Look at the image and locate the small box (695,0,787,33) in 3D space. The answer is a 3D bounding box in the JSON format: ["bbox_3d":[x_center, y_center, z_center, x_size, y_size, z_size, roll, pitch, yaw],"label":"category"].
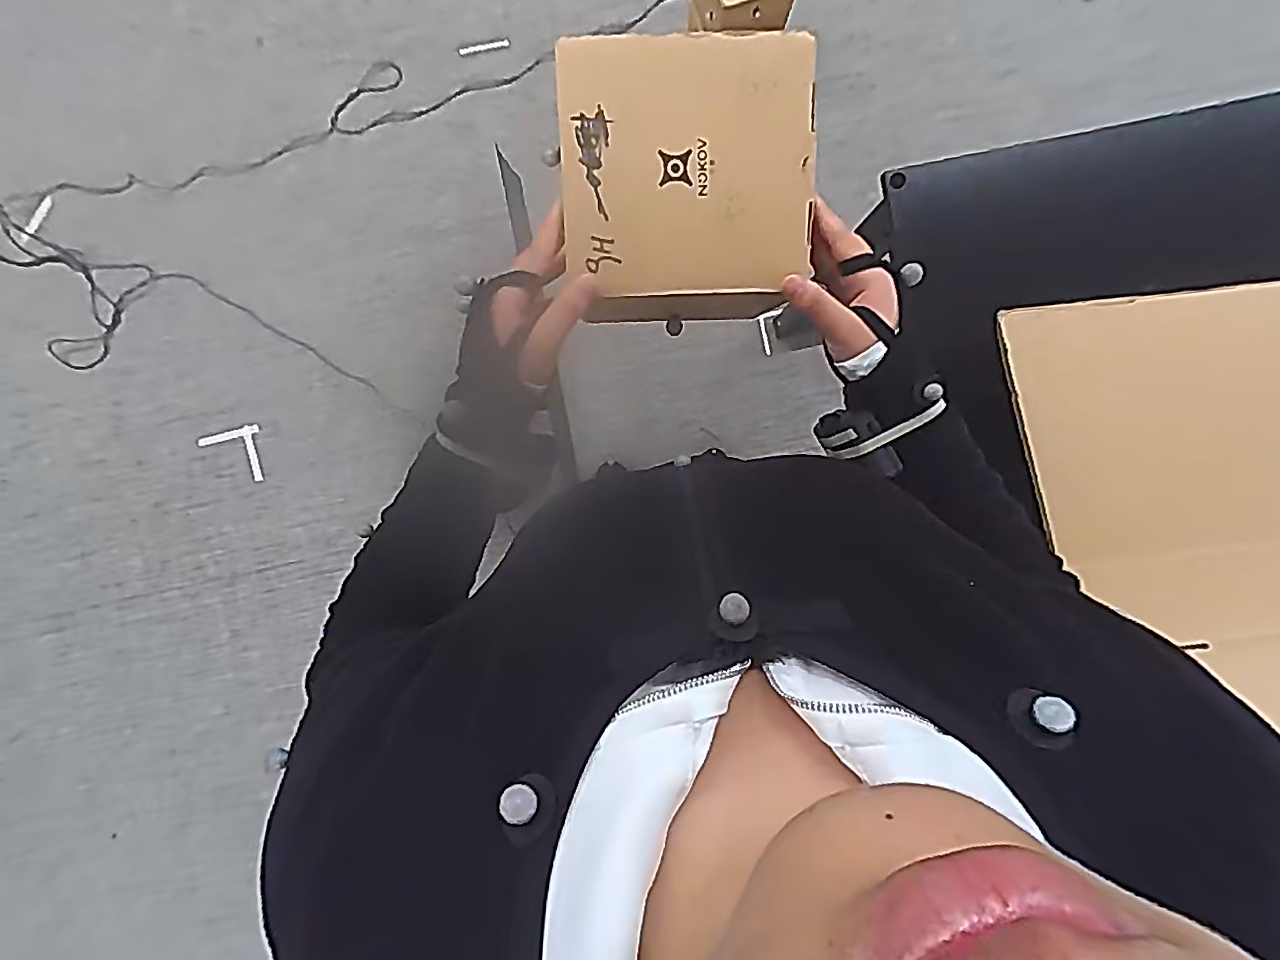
[{"bbox_3d":[0.229,-1.115,1.233,0.179,0.176,0.168,-18,92,0],"label":"small box"}]

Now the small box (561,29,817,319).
[{"bbox_3d":[0.030,-0.231,0.453,0.179,0.176,0.168,-2,99,-3],"label":"small box"}]
